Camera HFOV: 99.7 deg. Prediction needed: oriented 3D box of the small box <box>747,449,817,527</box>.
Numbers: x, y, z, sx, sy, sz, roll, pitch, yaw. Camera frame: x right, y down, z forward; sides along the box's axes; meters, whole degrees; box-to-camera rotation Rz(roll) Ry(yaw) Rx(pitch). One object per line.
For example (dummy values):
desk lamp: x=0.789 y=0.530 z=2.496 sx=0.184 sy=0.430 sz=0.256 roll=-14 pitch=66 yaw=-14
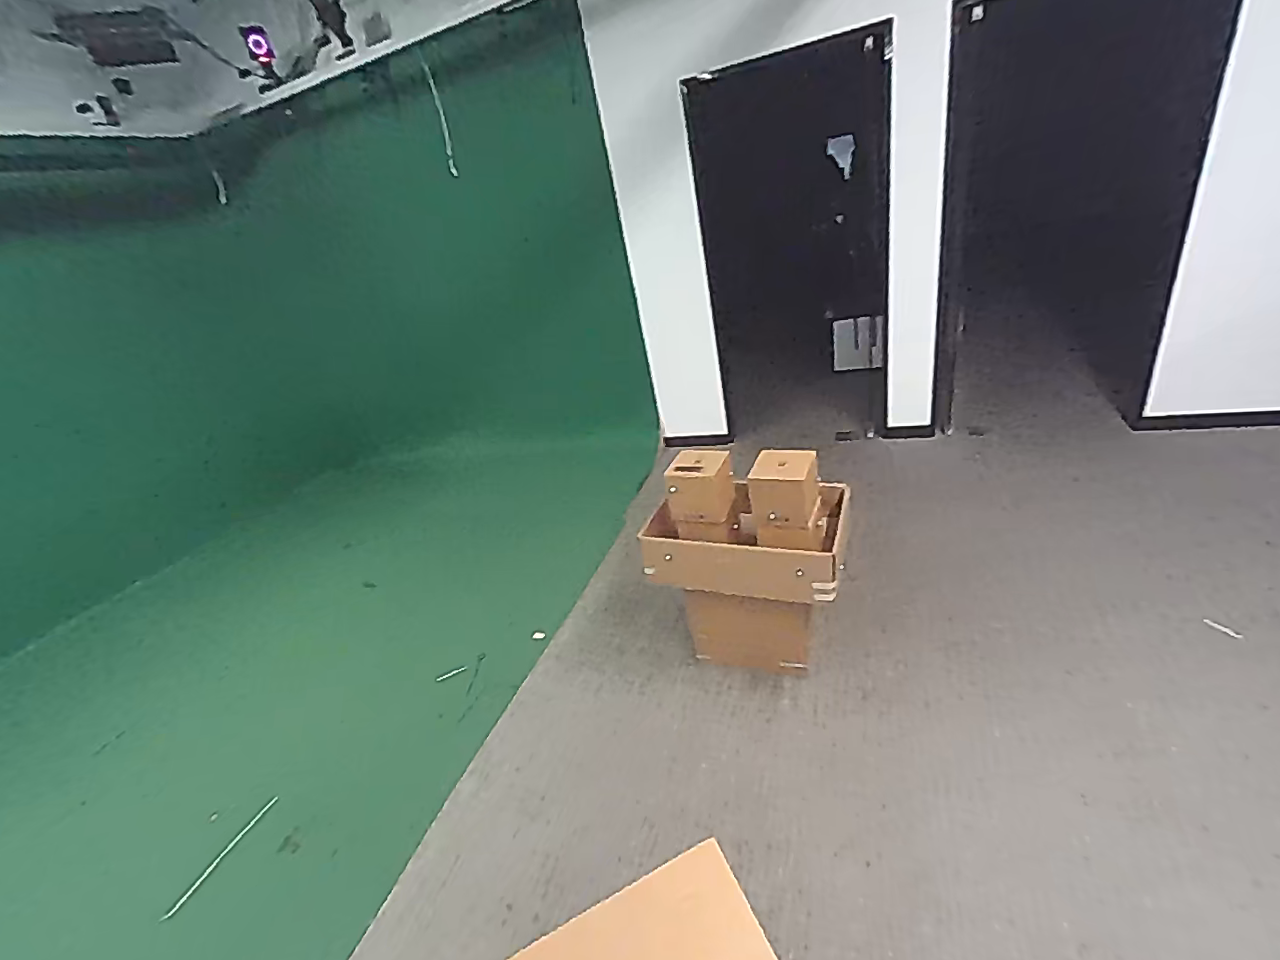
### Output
small box: x=0.433 y=0.021 z=1.629 sx=0.168 sy=0.176 sz=0.179 roll=2 pitch=32 yaw=29
